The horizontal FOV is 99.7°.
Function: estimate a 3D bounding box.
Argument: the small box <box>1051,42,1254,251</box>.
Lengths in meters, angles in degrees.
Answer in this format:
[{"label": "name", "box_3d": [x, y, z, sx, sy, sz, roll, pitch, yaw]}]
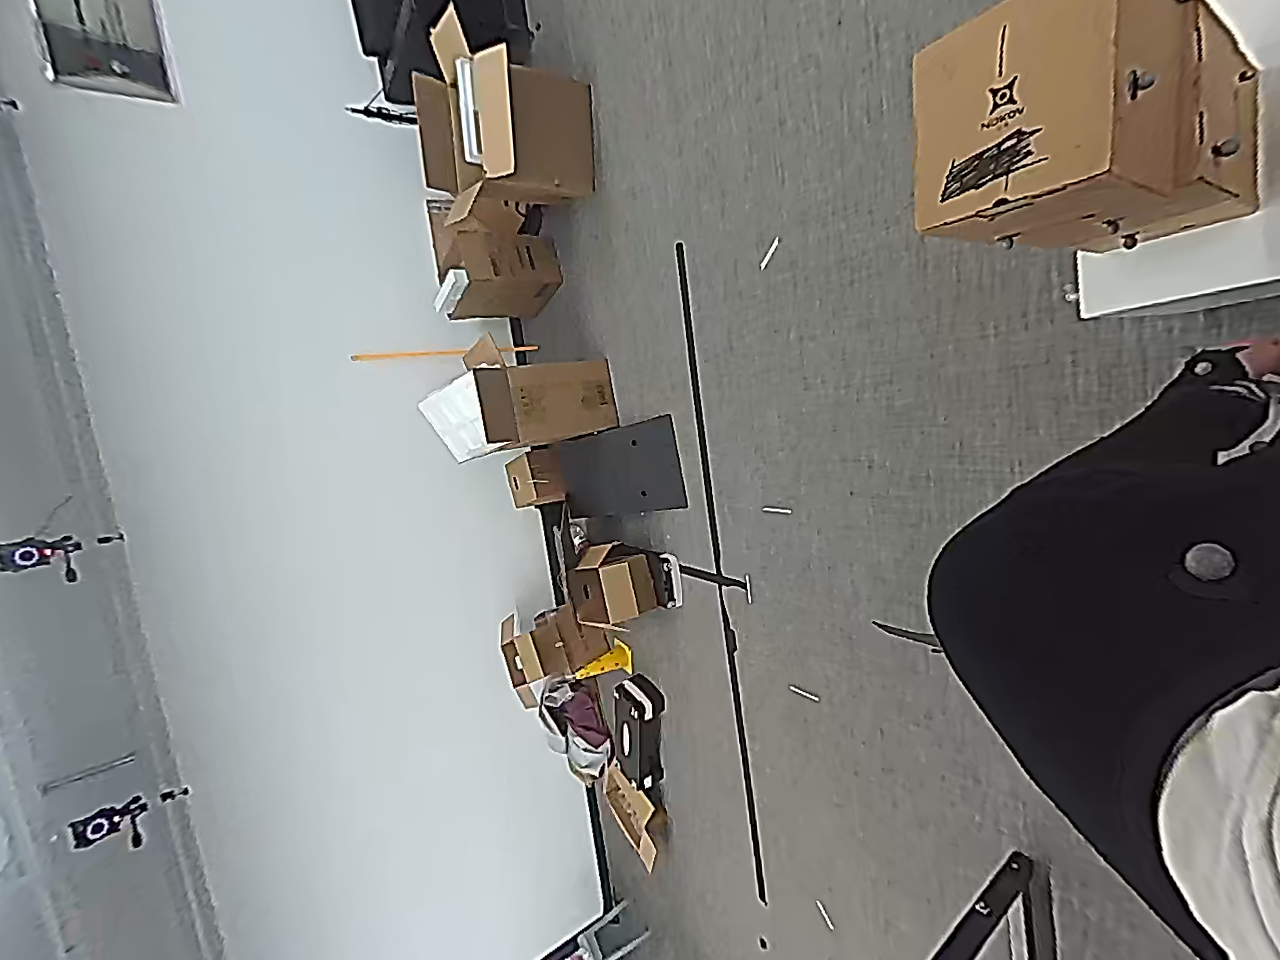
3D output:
[{"label": "small box", "box_3d": [0.666, -0.413, 0.707, 0.168, 0.176, 0.179, 2, 102, 56]}]

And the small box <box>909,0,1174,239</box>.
[{"label": "small box", "box_3d": [0.392, -0.350, 0.536, 0.168, 0.176, 0.179, 8, 106, 56]}]
